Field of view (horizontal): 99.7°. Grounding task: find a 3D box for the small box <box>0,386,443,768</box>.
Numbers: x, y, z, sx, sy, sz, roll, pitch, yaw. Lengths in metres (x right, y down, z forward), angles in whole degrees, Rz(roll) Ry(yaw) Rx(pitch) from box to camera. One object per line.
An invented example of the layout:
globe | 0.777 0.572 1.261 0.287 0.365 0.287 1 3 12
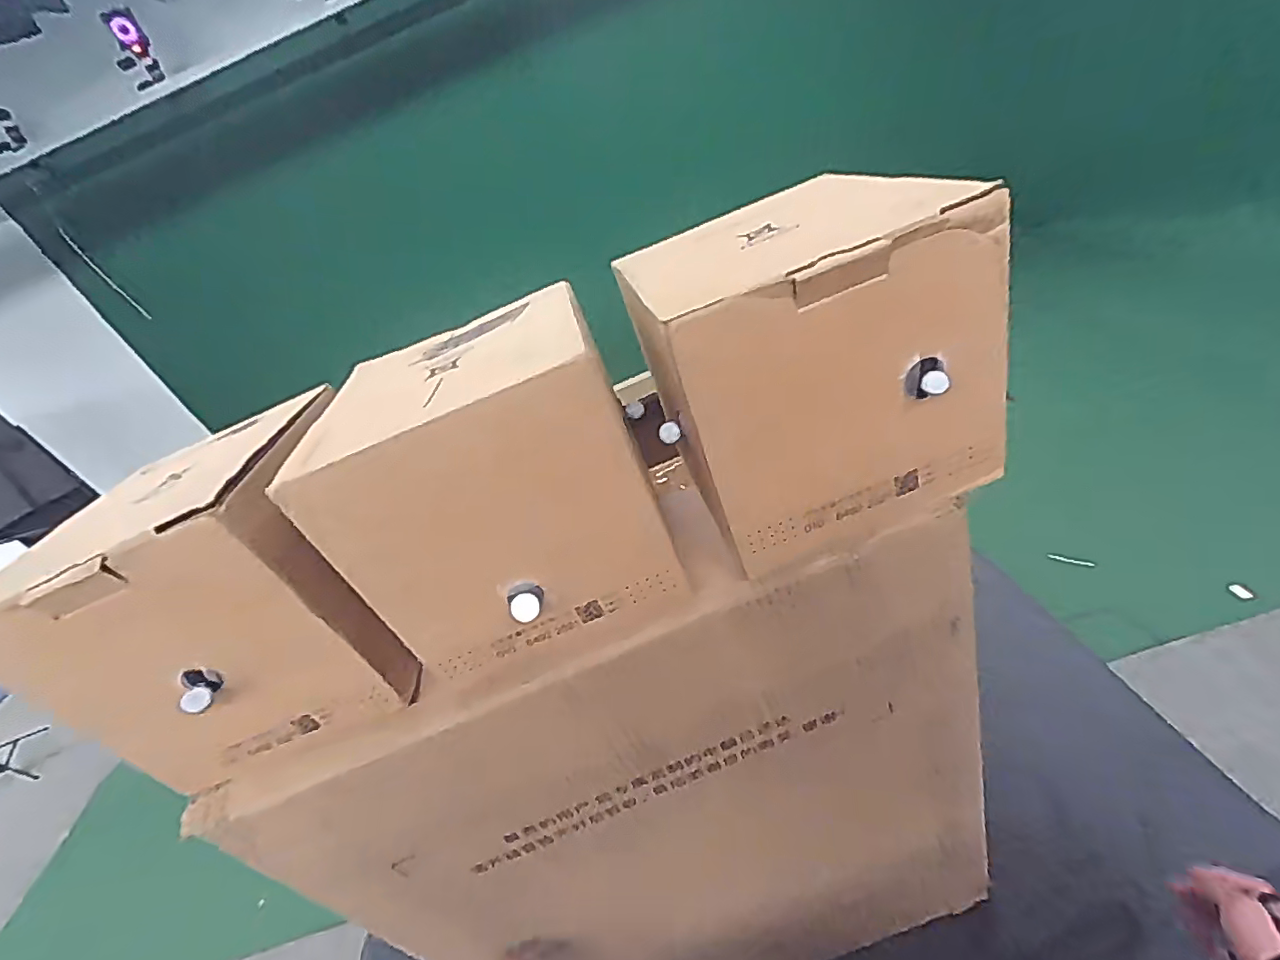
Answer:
small box | -0.259 0.068 0.376 0.168 0.176 0.179 -23 32 3

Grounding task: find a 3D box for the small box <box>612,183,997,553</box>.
small box | 0.096 -0.073 0.355 0.168 0.176 0.179 -21 31 -1
